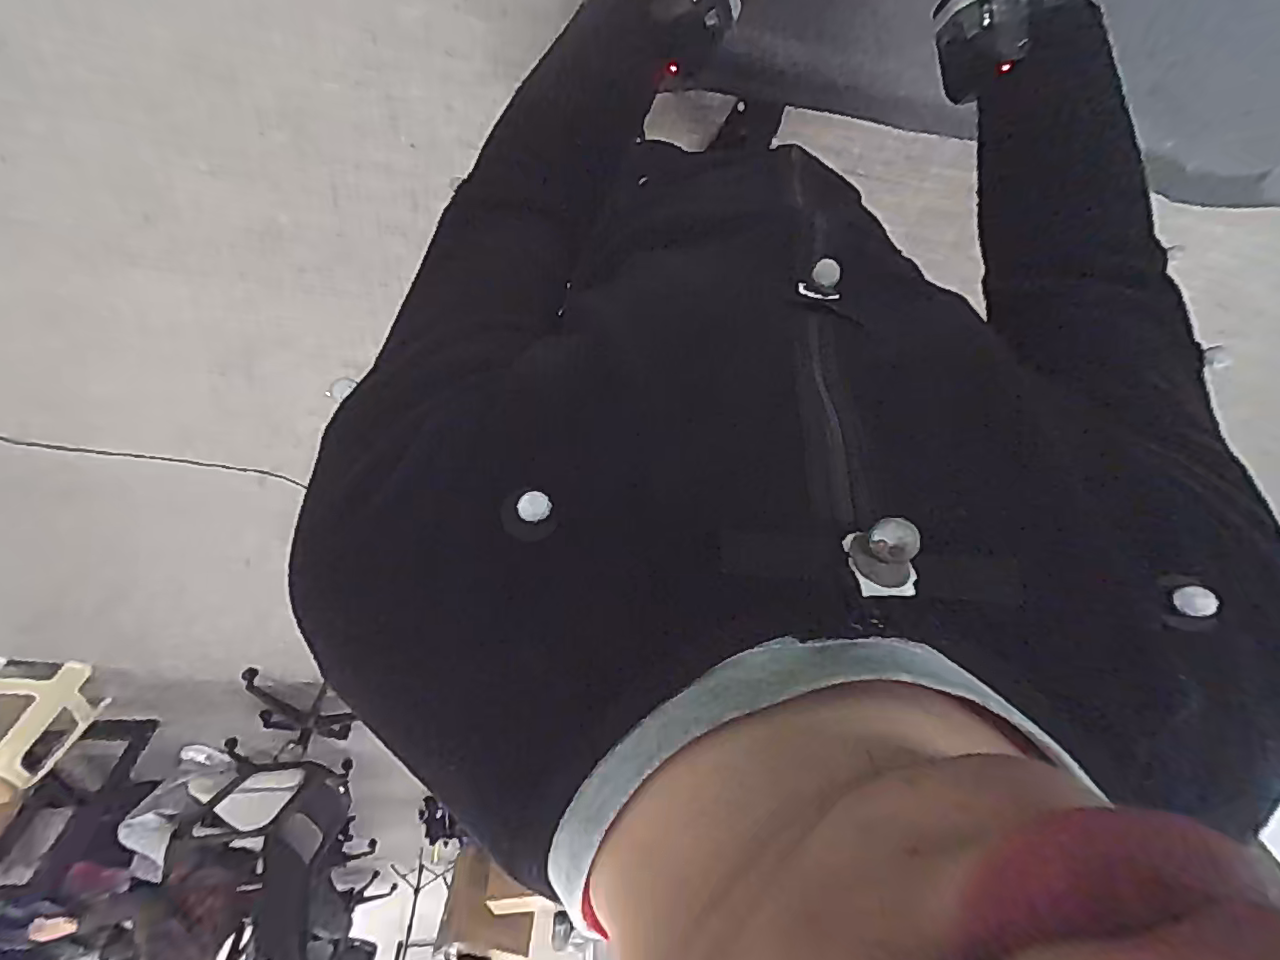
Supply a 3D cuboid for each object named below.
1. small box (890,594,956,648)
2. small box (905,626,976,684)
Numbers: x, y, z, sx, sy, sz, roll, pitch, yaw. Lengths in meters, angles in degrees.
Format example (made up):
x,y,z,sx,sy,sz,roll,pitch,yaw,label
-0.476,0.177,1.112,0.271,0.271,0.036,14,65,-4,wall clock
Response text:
x,y,z,sx,sy,sz,roll,pitch,yaw,label
1.226,0.618,2.362,0.168,0.176,0.179,5,129,-8,small box
1.235,0.722,2.238,0.168,0.176,0.179,6,130,-8,small box
